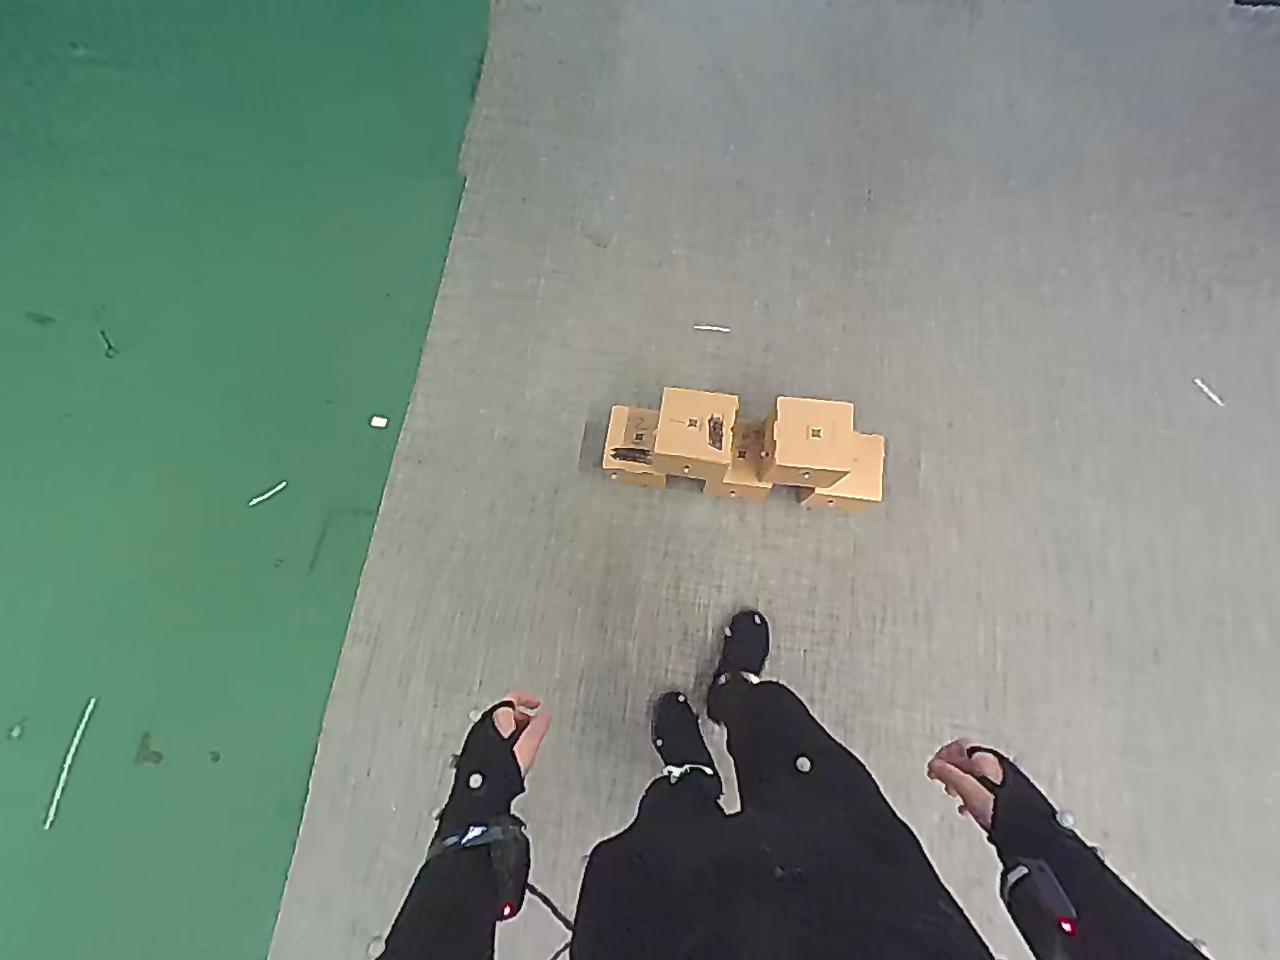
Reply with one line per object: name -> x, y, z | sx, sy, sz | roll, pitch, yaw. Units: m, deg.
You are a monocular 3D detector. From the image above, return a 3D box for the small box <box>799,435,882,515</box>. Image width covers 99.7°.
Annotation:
small box -> 0.528, -0.012, 1.440 | 0.168, 0.176, 0.179 | 7, 75, 4

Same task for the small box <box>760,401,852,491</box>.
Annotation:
small box -> 0.390, -0.076, 1.293 | 0.179, 0.176, 0.168 | 6, 76, 2

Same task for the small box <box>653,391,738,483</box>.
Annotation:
small box -> 0.131, -0.097, 1.307 | 0.179, 0.176, 0.168 | 8, 75, 5
